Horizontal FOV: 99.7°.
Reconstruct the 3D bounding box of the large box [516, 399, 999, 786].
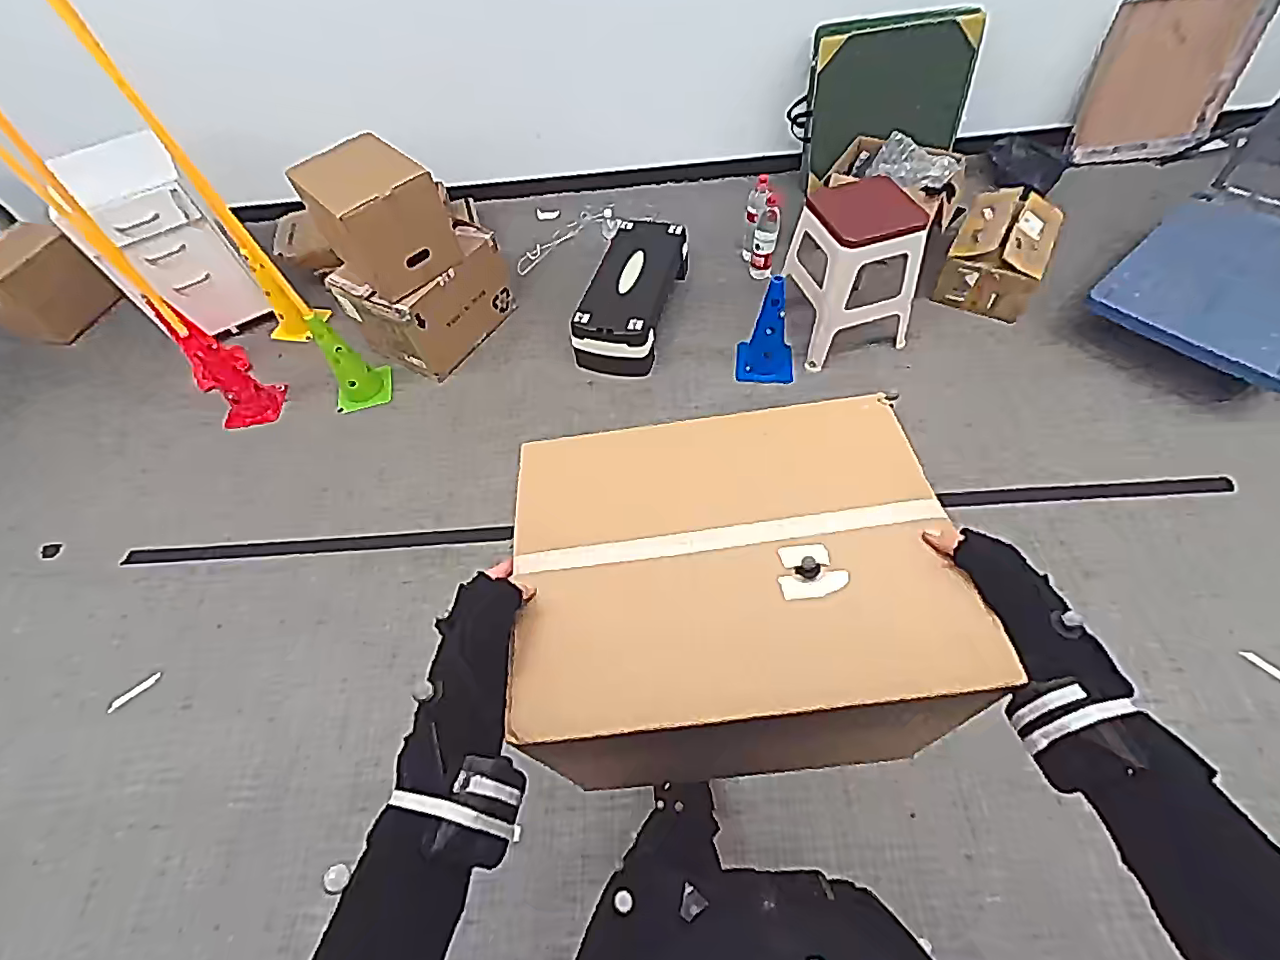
[{"bbox_3d":[0.095,0.146,0.643,0.408,0.320,0.320,-8,53,3],"label":"large box"}]
